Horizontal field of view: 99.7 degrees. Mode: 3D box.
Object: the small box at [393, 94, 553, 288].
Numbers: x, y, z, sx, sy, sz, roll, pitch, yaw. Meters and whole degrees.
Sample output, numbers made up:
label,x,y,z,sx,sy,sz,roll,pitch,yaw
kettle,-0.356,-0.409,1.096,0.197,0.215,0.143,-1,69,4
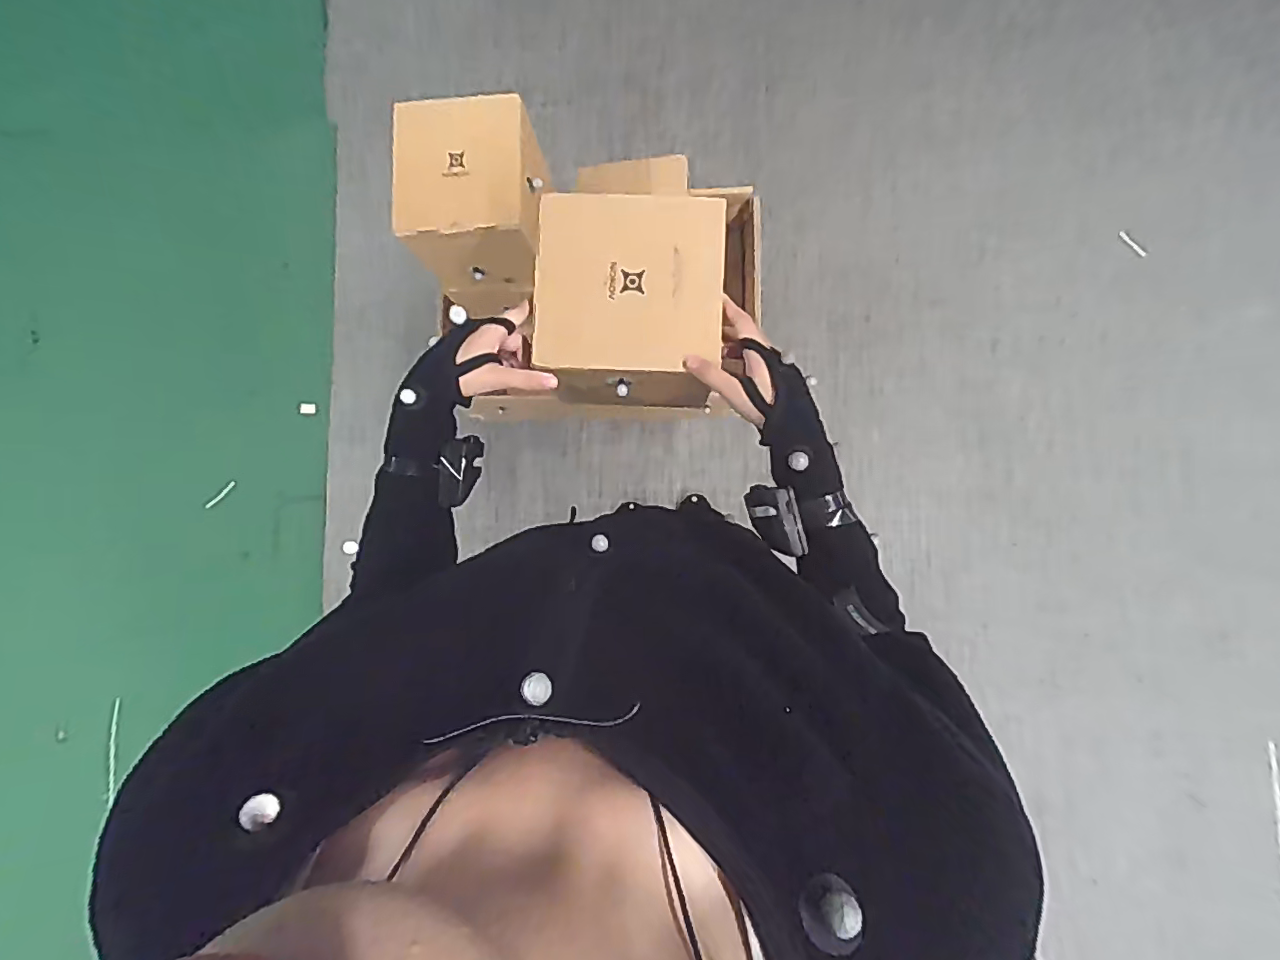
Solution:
label,x,y,z,sx,sy,sz,roll,pitch,yaw
small box,-0.221,-0.388,0.752,0.168,0.176,0.179,-2,86,4
